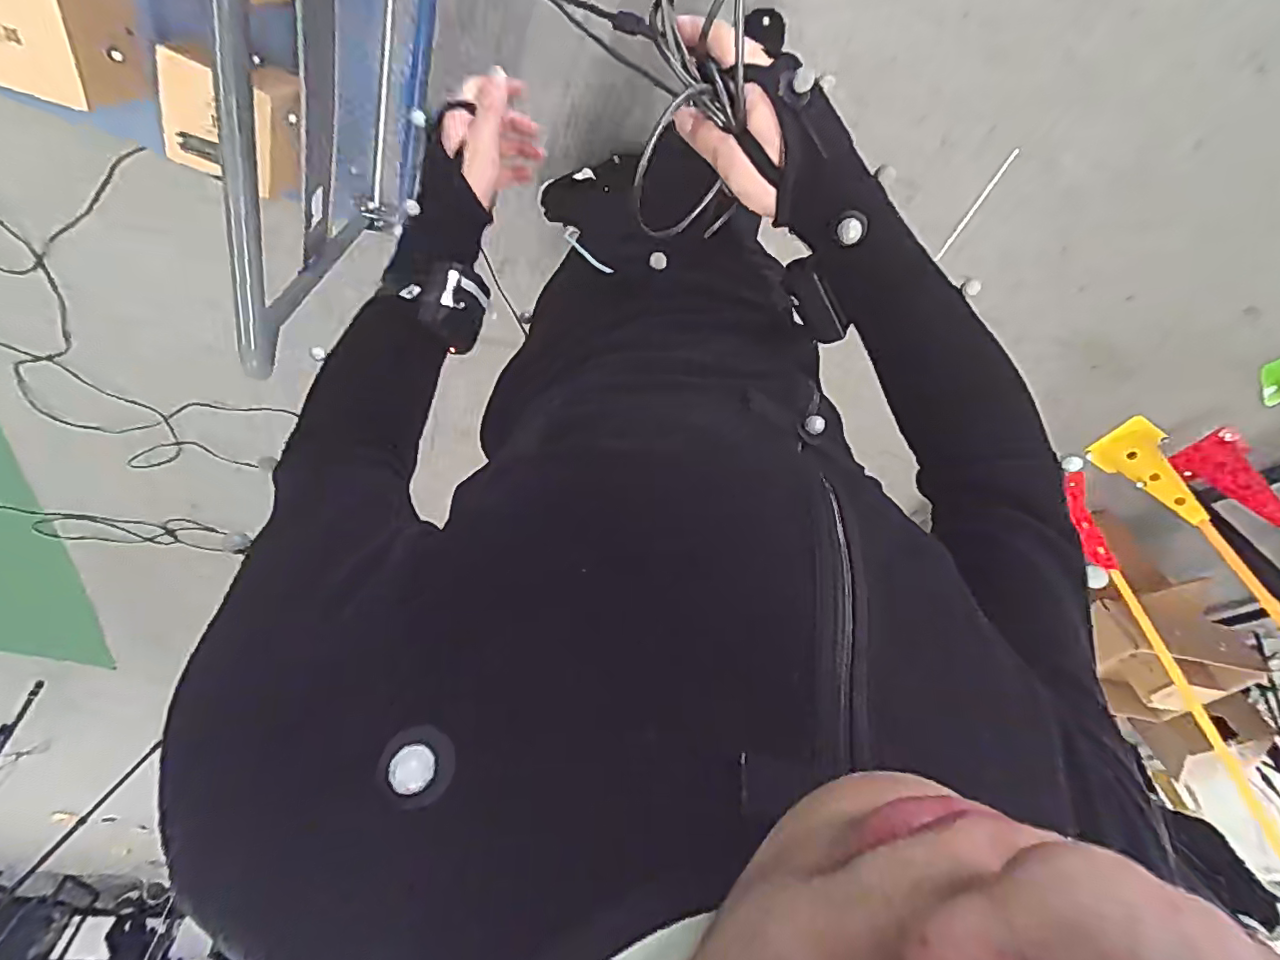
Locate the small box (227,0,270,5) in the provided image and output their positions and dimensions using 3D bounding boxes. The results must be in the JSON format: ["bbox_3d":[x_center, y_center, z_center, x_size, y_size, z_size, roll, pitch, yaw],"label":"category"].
[{"bbox_3d":[-0.648,-0.849,0.802,0.179,0.176,0.168,17,130,-18],"label":"small box"}]

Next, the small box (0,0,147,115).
[{"bbox_3d":[-0.969,-0.742,0.893,0.179,0.176,0.168,13,131,-14],"label":"small box"}]
